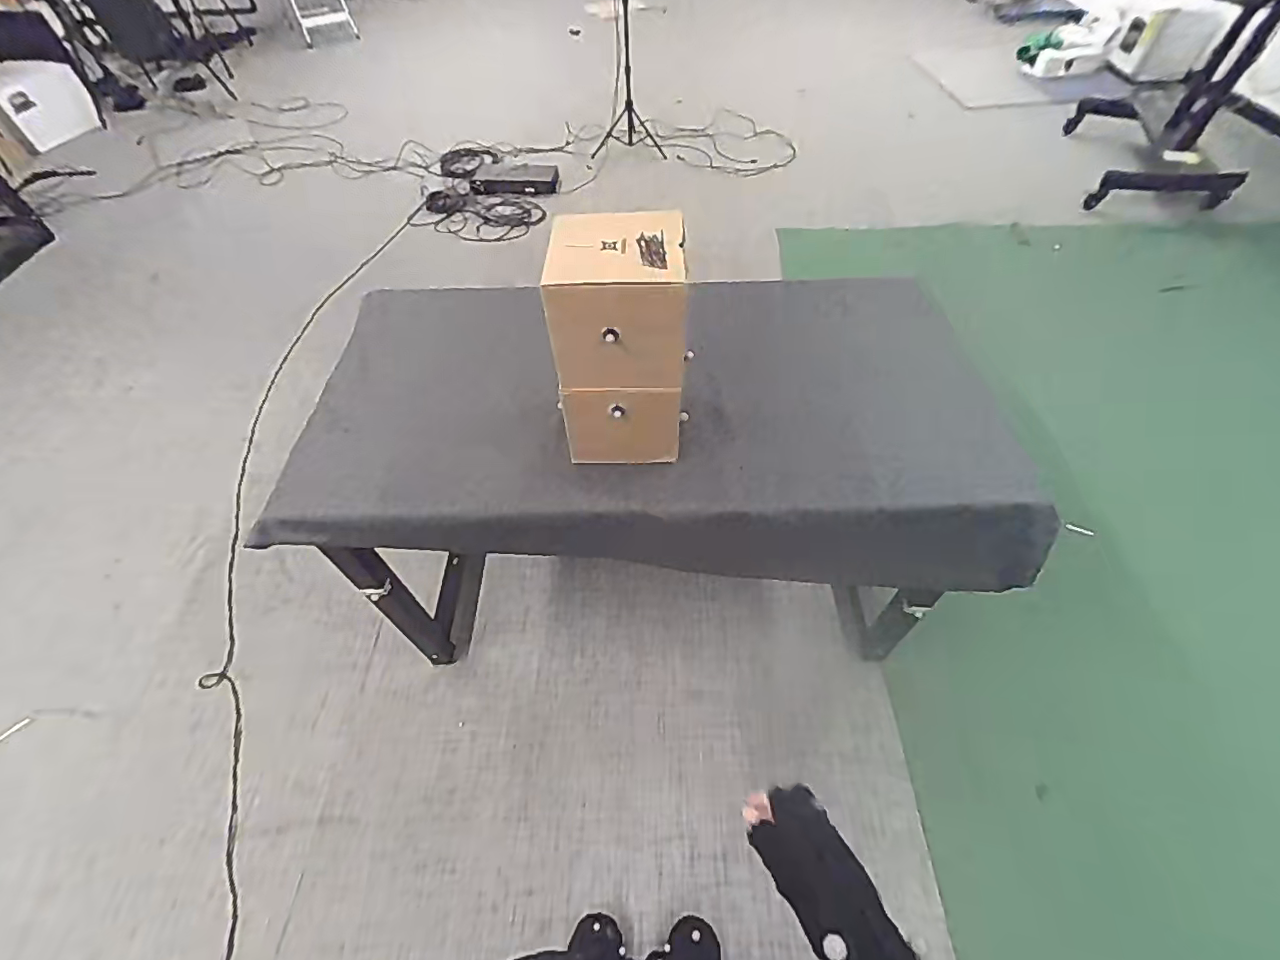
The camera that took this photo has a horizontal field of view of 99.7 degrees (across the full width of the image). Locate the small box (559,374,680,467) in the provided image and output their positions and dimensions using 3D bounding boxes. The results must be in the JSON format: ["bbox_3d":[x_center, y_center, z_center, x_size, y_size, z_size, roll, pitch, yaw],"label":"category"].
[{"bbox_3d":[-0.027,-0.133,0.875,0.179,0.176,0.168,0,53,0],"label":"small box"}]

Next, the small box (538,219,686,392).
[{"bbox_3d":[-0.028,-0.235,0.745,0.179,0.176,0.168,-1,53,3],"label":"small box"}]
